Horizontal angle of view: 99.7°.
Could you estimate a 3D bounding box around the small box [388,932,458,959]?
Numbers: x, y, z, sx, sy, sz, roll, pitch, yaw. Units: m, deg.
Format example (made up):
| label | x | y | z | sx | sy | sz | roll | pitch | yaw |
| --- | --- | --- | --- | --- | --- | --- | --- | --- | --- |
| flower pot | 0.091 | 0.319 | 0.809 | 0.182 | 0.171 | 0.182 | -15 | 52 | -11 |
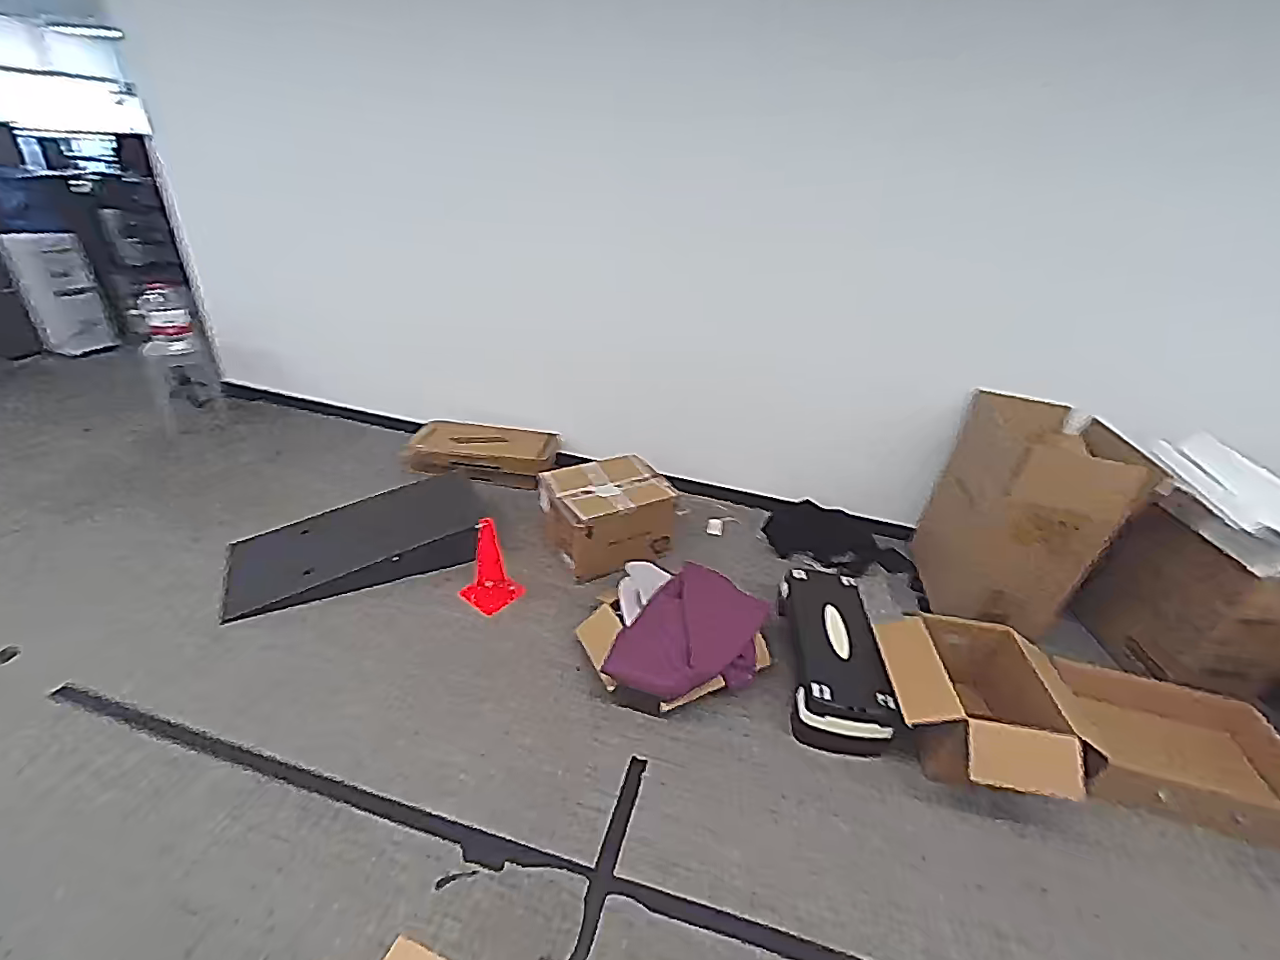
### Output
| label | x | y | z | sx | sy | sz | roll | pitch | yaw |
| --- | --- | --- | --- | --- | --- | --- | --- | --- | --- |
| small box | -0.381 | 0.935 | 0.915 | 0.168 | 0.176 | 0.179 | 14 | 32 | 15 |
